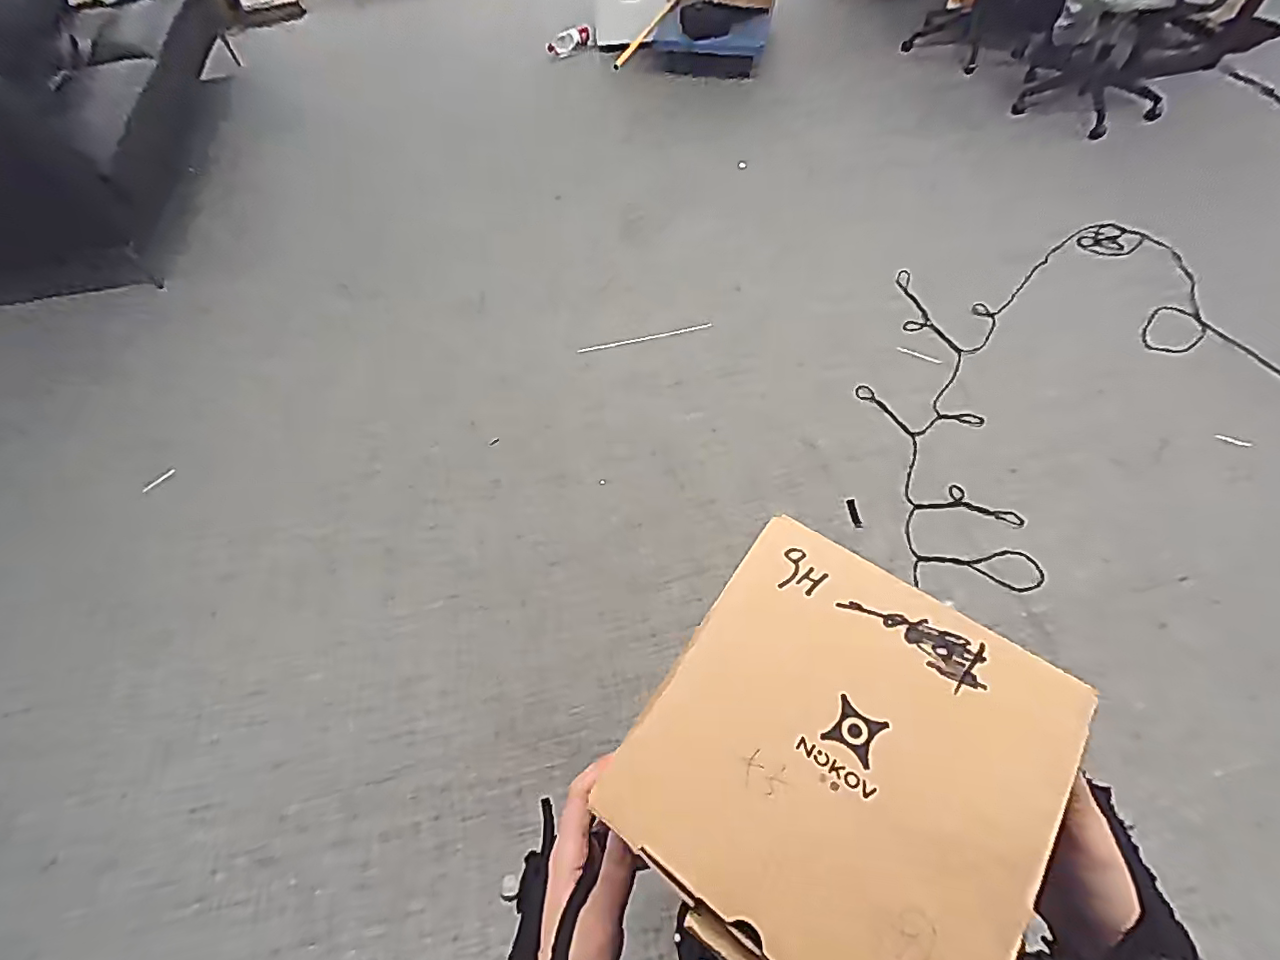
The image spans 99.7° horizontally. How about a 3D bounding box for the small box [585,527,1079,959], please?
[{"bbox_3d":[0.096,0.165,0.319,0.168,0.176,0.179,31,69,20],"label":"small box"}]
